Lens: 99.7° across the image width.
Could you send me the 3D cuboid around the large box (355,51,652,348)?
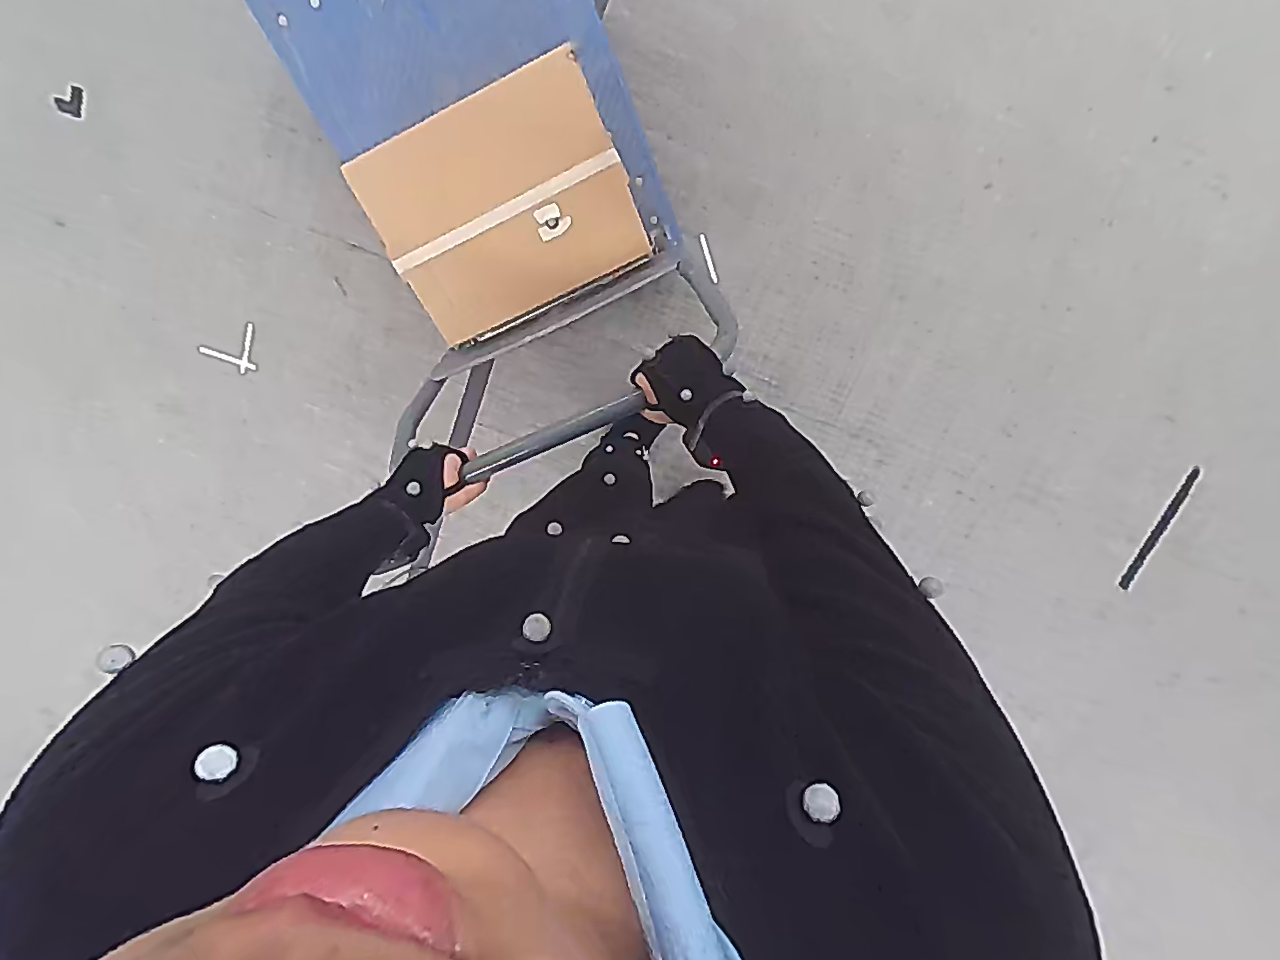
[{"bbox_3d":[-0.231,-0.507,1.033,0.408,0.320,0.320,-24,117,7],"label":"large box"}]
